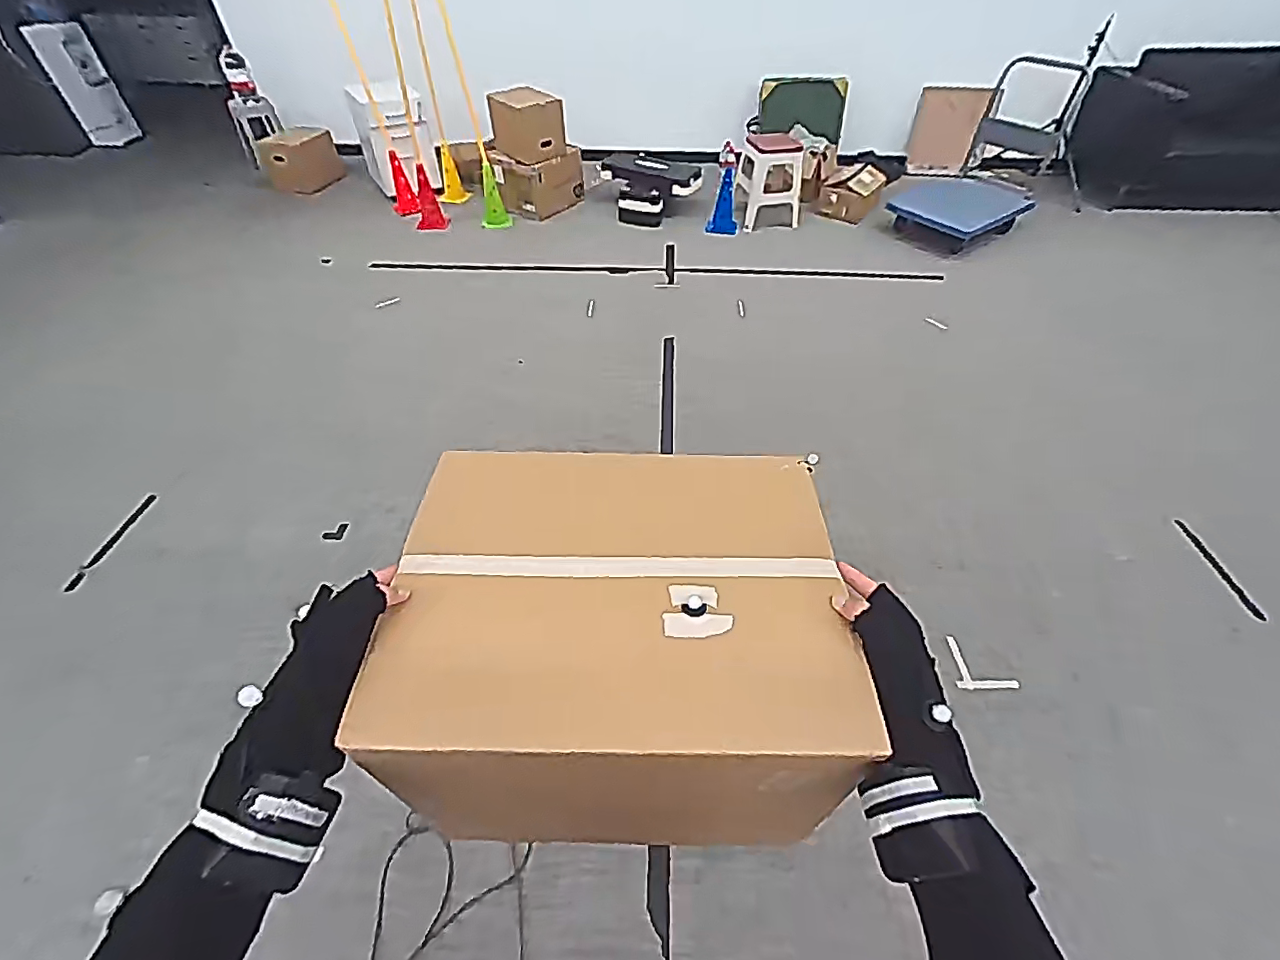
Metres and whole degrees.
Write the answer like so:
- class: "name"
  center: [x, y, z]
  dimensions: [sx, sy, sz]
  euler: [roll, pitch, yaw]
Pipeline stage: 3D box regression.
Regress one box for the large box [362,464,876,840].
- class: "large box"
  center: [-0.019, 0.197, 0.620]
  dimensions: [0.408, 0.320, 0.320]
  euler: [1, 46, 0]
